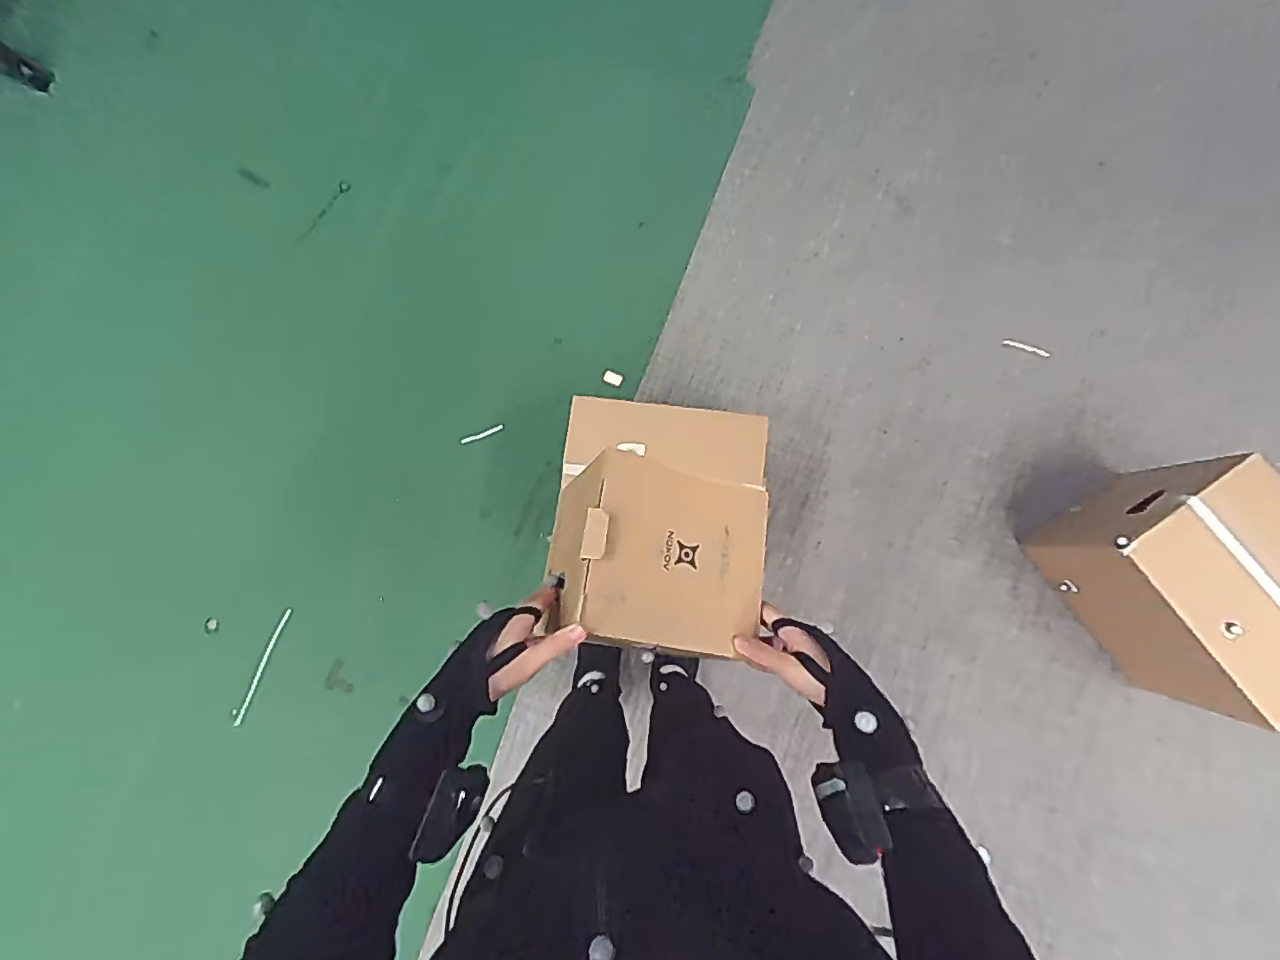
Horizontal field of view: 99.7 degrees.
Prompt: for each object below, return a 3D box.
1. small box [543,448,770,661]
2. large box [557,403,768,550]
[{"bbox_3d":[0.010,0.088,0.559,0.179,0.176,0.168,16,70,-18],"label":"small box"},{"bbox_3d":[0.060,0.025,1.225,0.408,0.320,0.320,6,83,7],"label":"large box"}]
